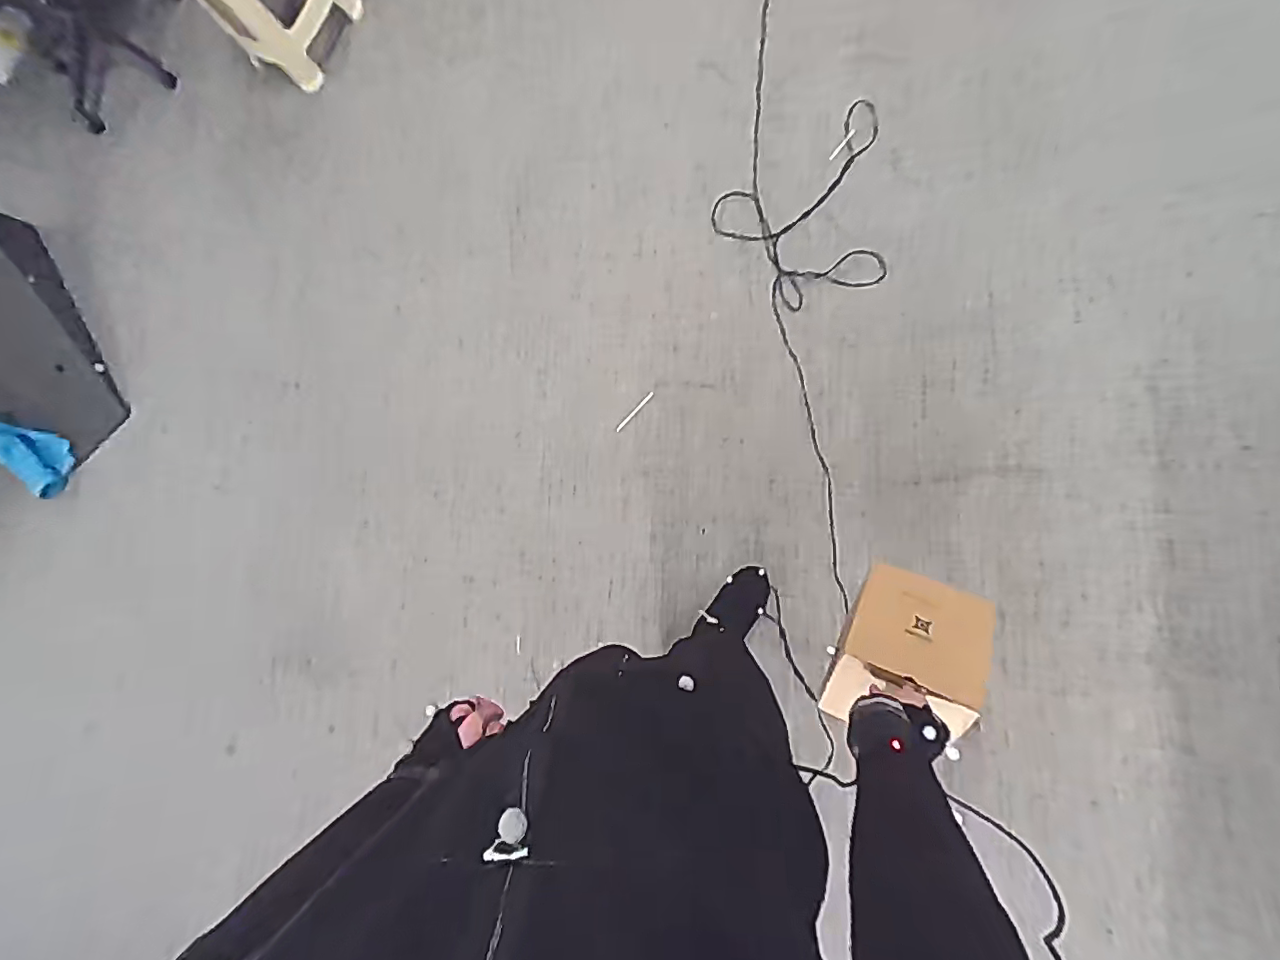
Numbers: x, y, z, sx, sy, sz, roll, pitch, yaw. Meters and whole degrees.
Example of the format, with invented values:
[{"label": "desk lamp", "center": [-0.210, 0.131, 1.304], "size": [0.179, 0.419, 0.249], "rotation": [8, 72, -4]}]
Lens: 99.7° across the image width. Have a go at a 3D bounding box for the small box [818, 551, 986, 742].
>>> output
[{"label": "small box", "center": [0.371, 0.243, 0.783], "size": [0.168, 0.176, 0.179], "rotation": [20, 49, 19]}]
